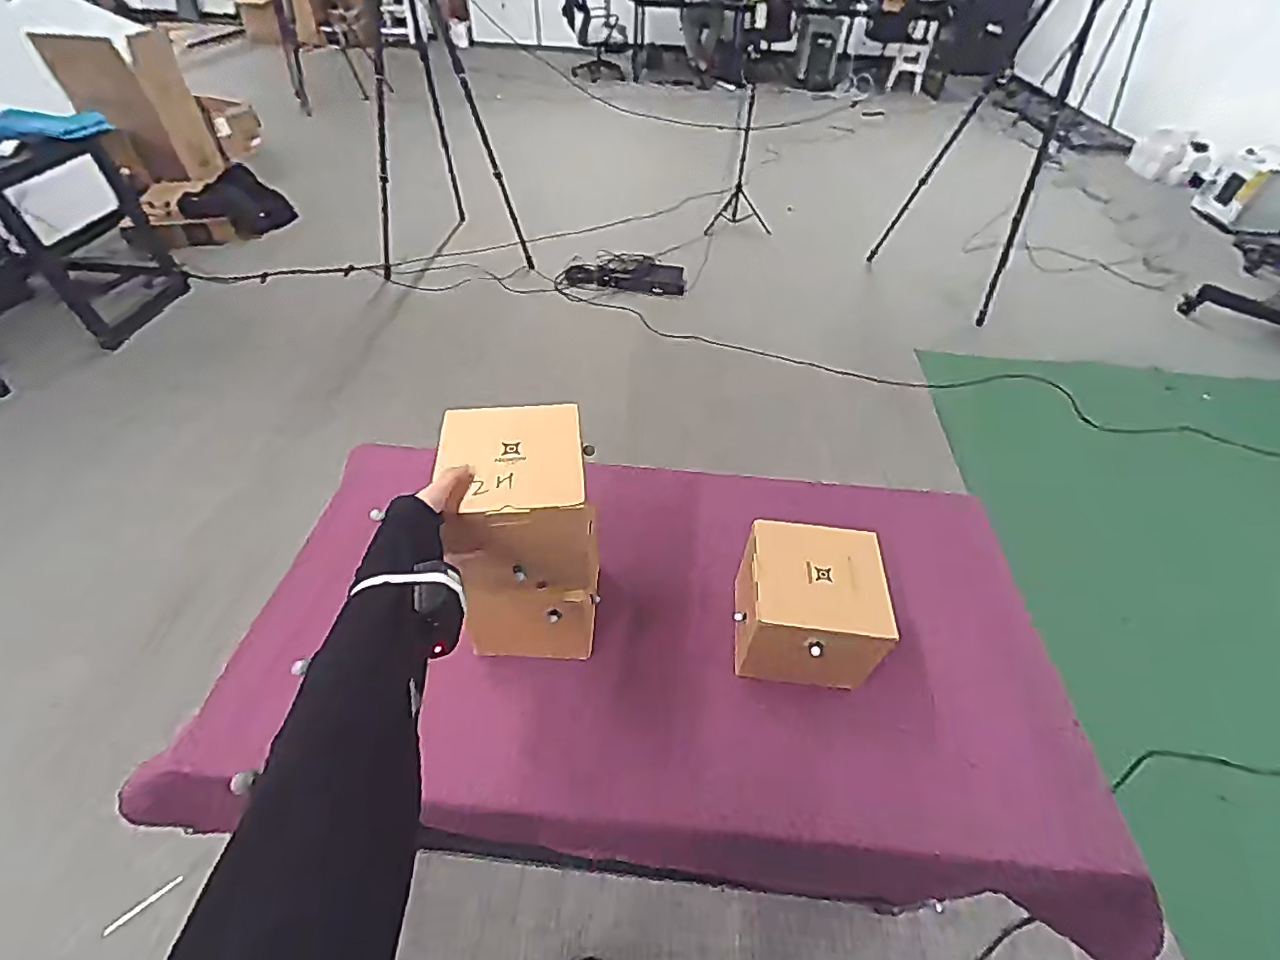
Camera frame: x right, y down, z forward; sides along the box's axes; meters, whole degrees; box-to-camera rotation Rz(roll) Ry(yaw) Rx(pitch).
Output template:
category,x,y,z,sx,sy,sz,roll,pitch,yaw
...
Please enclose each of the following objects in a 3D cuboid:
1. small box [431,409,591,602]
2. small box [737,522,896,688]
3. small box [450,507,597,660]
category,x,y,z,sx,sy,sz,roll,pitch,yaw
small box,-0.151,0.032,0.686,0.168,0.176,0.179,-5,47,-6
small box,0.238,0.184,0.781,0.179,0.176,0.168,6,48,3
small box,-0.157,0.153,0.798,0.179,0.176,0.168,2,47,-2
